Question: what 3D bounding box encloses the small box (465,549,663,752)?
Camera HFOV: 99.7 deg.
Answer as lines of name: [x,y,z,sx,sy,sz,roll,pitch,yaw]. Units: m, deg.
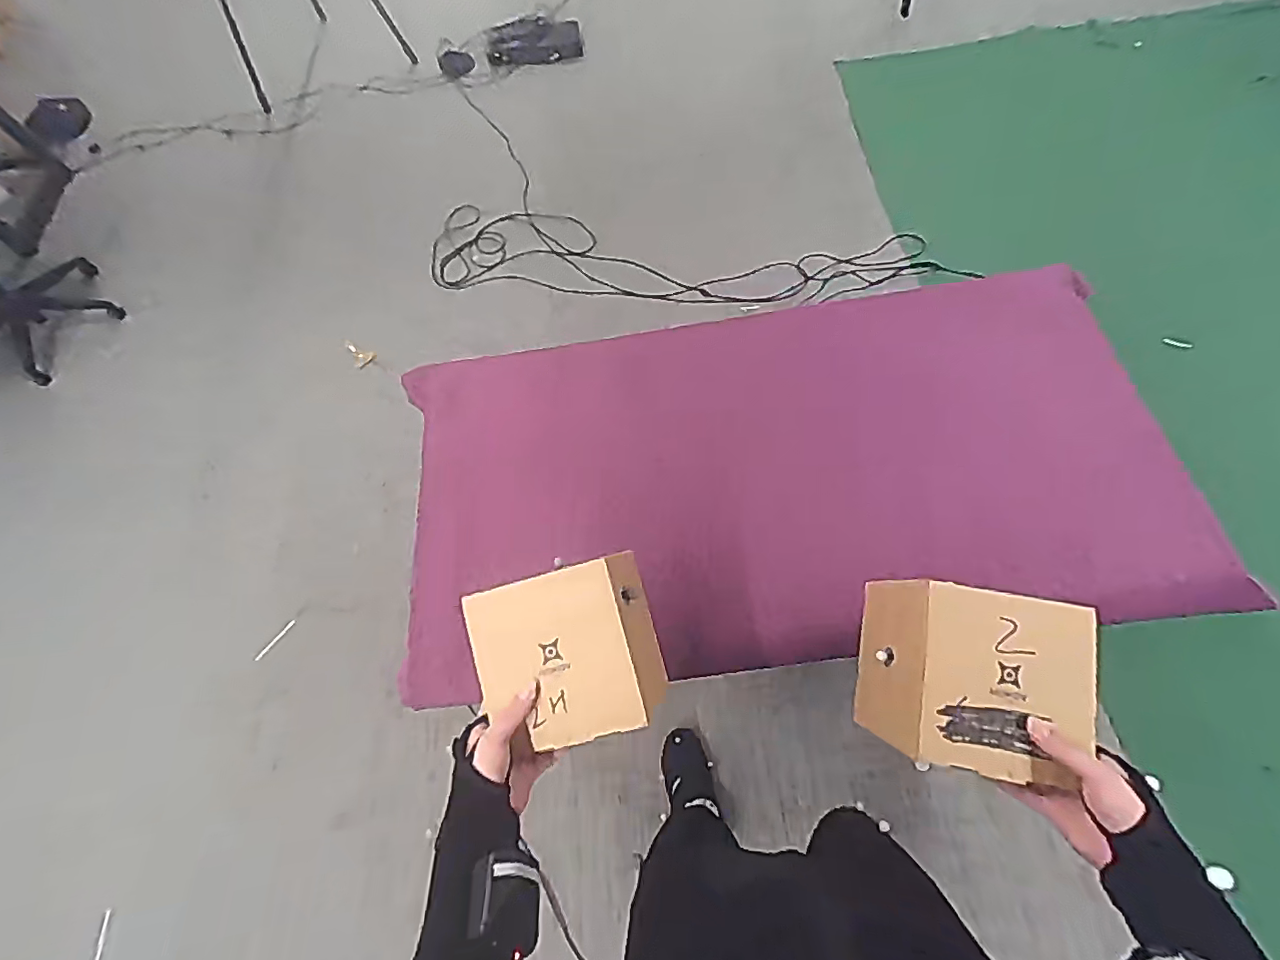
small box: [-0.077,0.182,0.629,0.168,0.176,0.179,-15,83,8]
